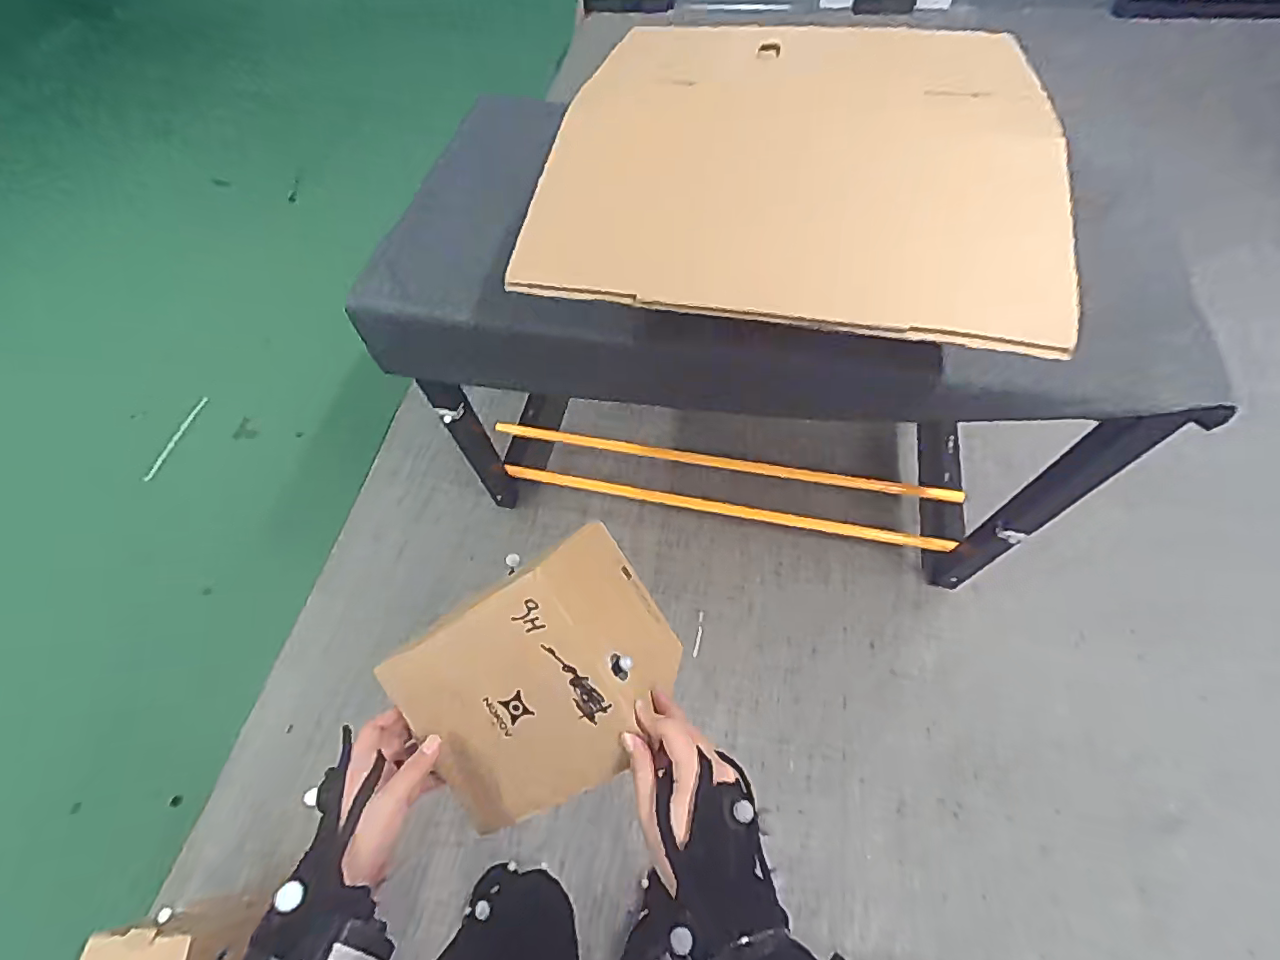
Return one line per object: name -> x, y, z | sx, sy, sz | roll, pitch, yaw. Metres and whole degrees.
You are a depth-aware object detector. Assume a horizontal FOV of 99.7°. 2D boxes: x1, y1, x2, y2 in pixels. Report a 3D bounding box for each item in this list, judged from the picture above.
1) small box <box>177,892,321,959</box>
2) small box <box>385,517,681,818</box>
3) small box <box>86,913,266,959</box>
small box -> -0.719, 0.859, 0.972 | 0.179, 0.176, 0.168 | -1, 60, 5
small box -> -0.080, 0.155, 0.496 | 0.179, 0.176, 0.168 | -31, 92, 15
small box -> -0.721, 0.785, 0.827 | 0.168, 0.176, 0.179 | -3, 61, 4
